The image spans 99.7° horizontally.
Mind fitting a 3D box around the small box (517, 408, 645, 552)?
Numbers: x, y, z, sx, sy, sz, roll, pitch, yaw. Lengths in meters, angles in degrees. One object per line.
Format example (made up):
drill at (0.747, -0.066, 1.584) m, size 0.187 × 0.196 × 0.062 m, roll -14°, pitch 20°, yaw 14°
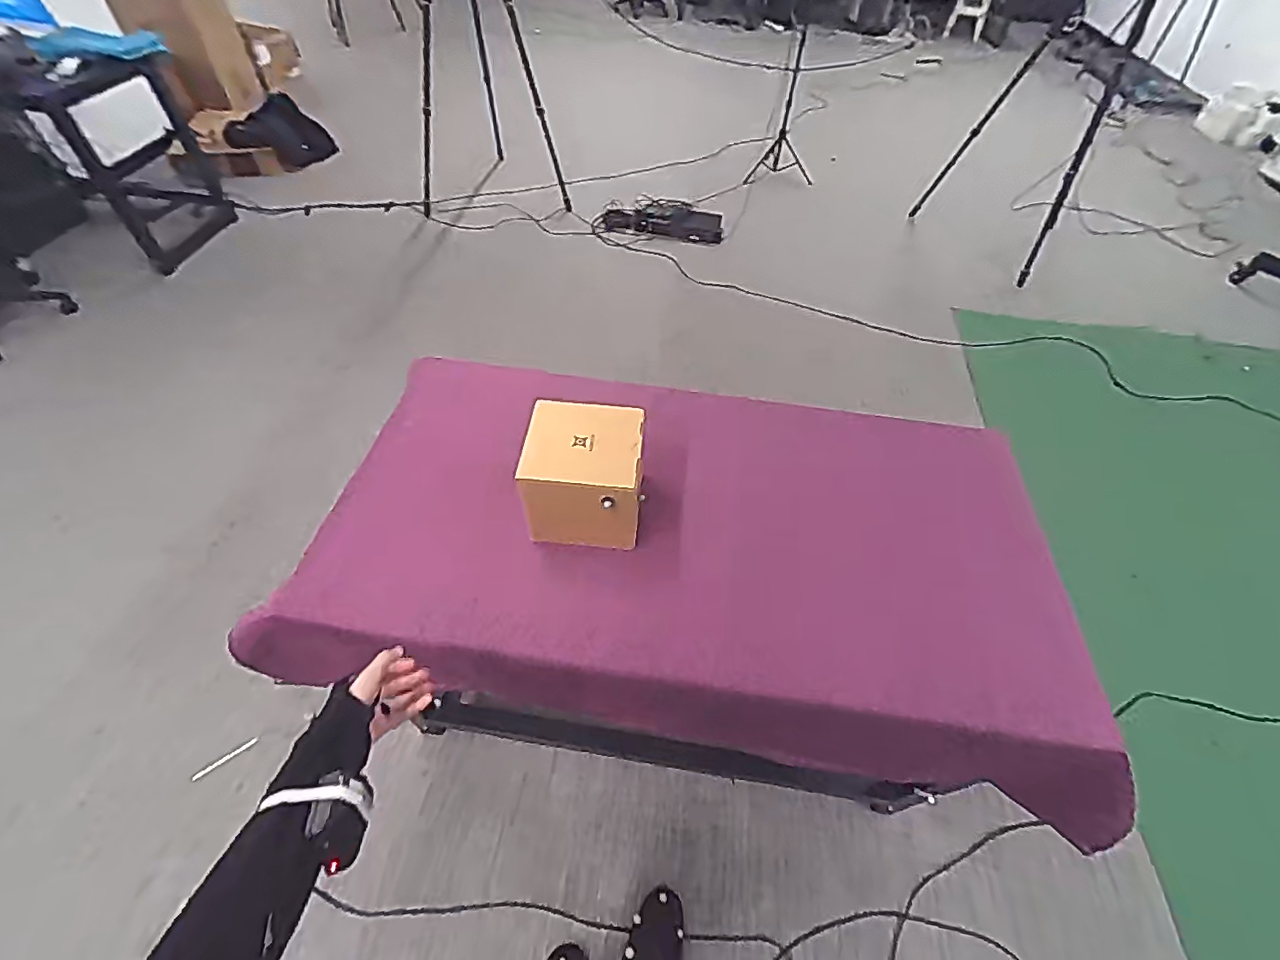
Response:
small box at (-0.088, 0.004, 0.881) m, size 0.179 × 0.176 × 0.168 m, roll 5°, pitch 51°, yaw 0°
